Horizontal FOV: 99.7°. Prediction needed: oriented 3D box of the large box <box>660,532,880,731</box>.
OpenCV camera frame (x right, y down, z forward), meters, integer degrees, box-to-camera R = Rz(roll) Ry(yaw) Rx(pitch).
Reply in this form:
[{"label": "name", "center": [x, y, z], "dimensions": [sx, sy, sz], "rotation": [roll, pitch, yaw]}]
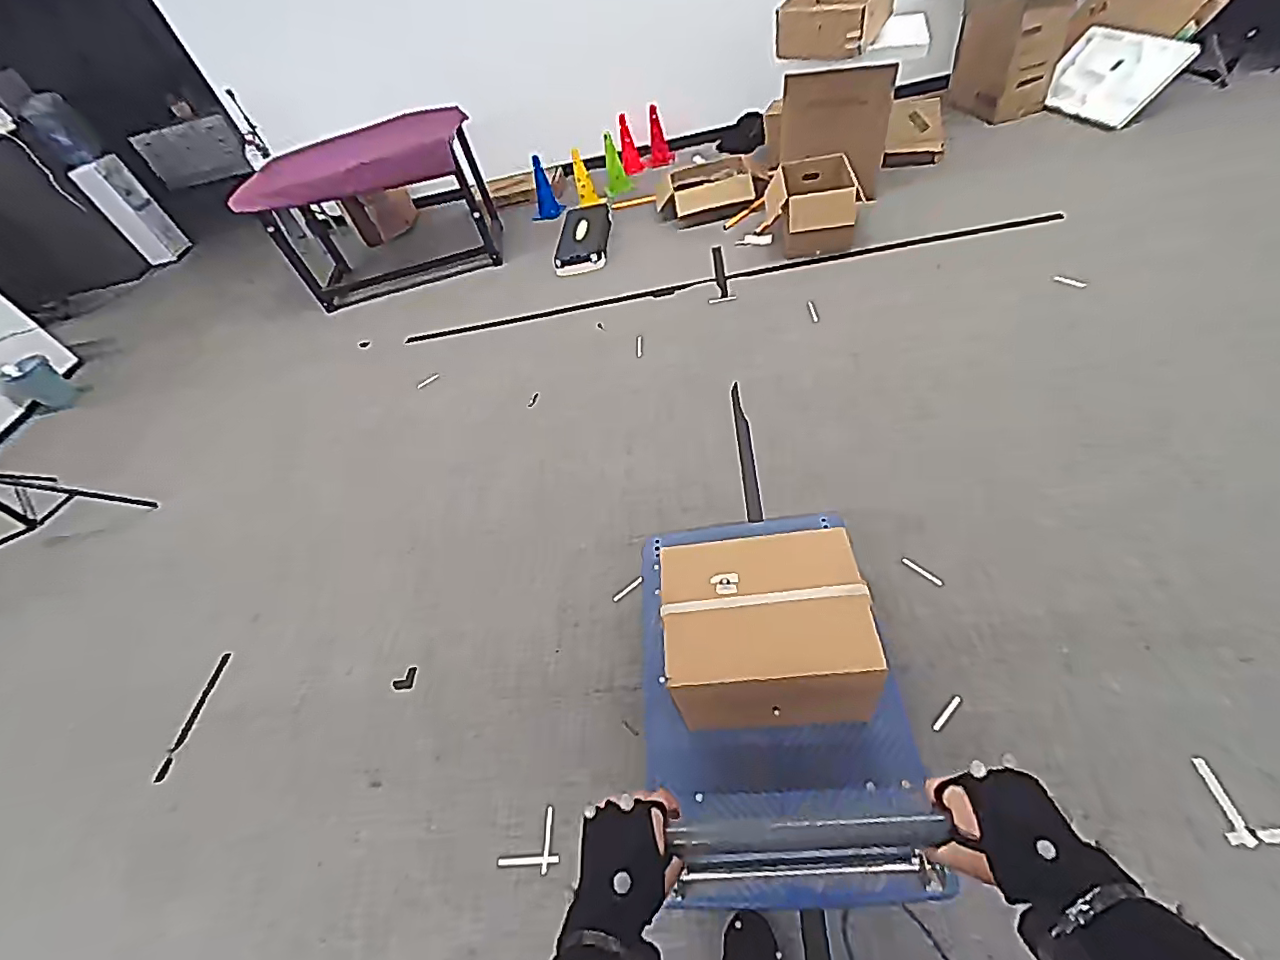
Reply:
[{"label": "large box", "center": [0.277, 0.353, 1.224], "dimensions": [0.408, 0.320, 0.320], "rotation": [-9, 48, 9]}]
